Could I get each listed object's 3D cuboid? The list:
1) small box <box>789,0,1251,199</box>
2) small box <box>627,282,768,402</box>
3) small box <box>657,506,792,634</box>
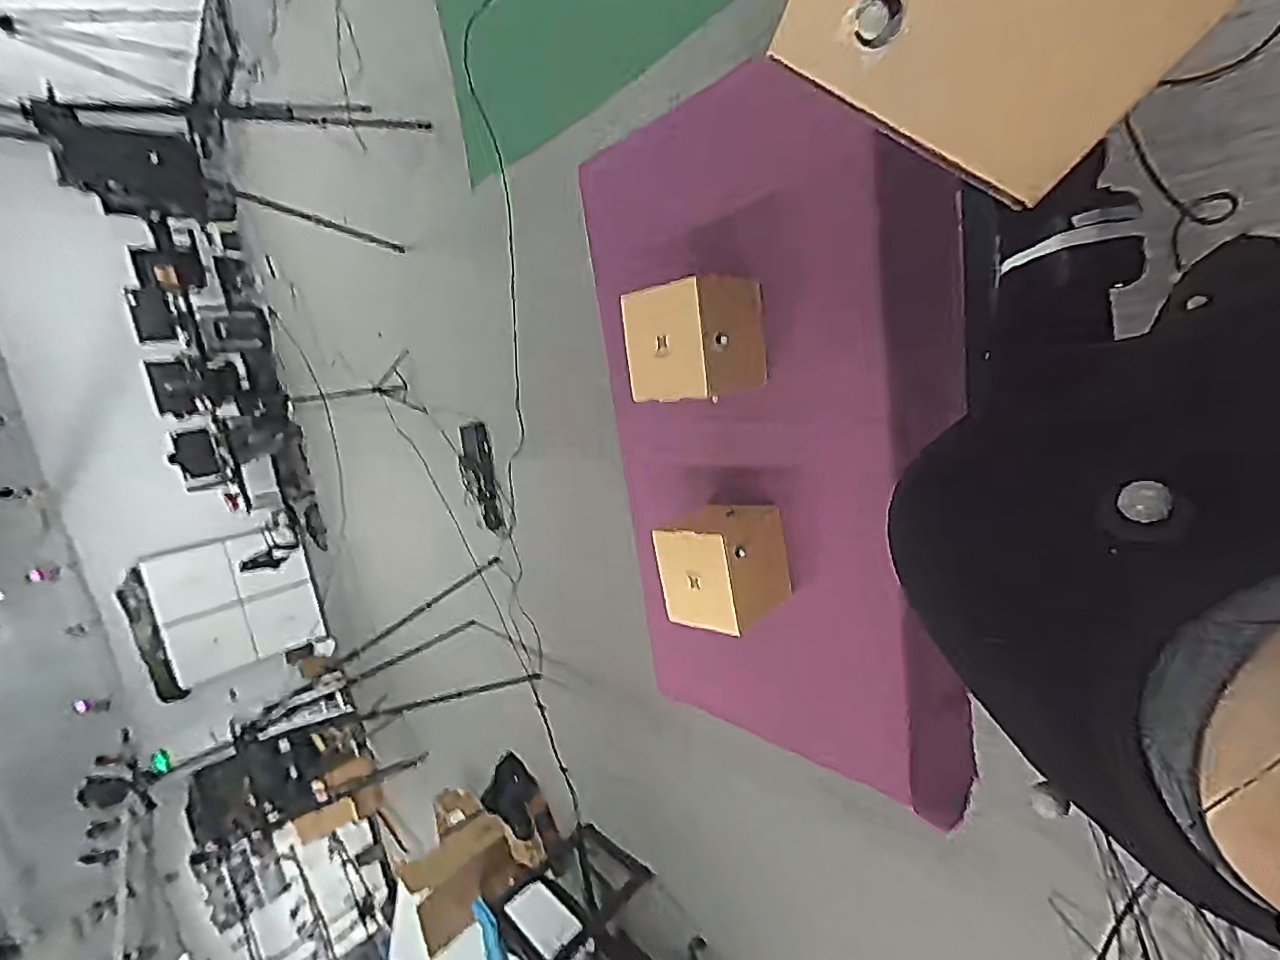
[{"bbox_3d":[0.213,-0.297,0.274,0.179,0.168,0.176,32,152,0],"label":"small box"},{"bbox_3d":[0.102,-0.231,0.912,0.168,0.176,0.179,6,107,46],"label":"small box"},{"bbox_3d":[0.159,0.154,0.987,0.168,0.176,0.179,-3,100,48],"label":"small box"}]
